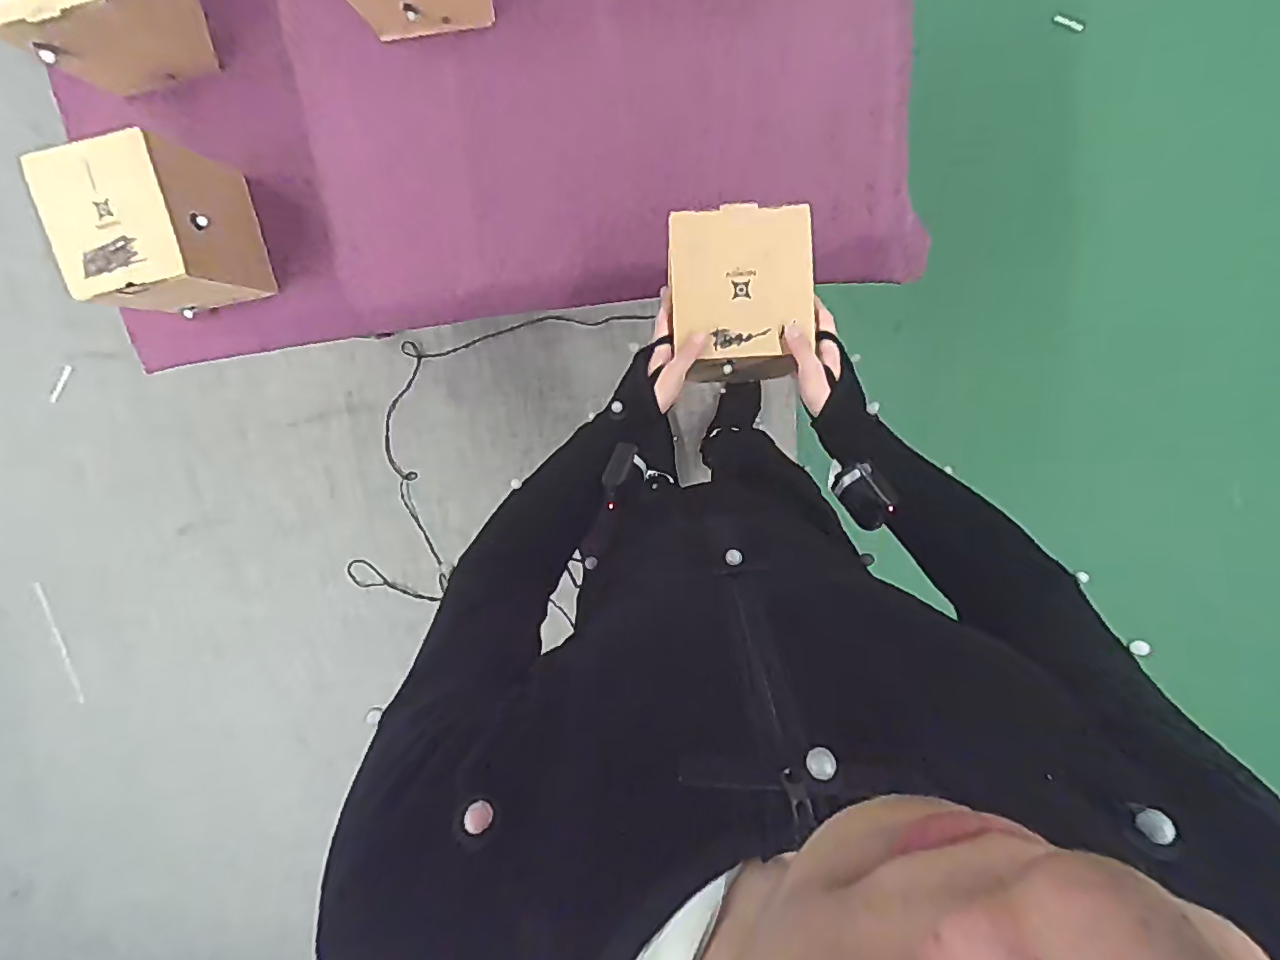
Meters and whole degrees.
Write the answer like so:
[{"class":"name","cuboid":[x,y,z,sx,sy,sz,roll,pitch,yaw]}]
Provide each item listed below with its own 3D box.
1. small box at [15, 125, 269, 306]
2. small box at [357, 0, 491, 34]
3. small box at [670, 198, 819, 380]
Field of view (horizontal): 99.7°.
[{"class":"small box","cuboid":[-0.657,-0.342,0.741,0.168,0.176,0.179,-10,101,4]},{"class":"small box","cuboid":[-0.292,-0.689,0.649,0.168,0.176,0.179,-5,104,3]},{"class":"small box","cuboid":[0.124,-0.235,0.701,0.168,0.176,0.179,-2,90,2]}]
